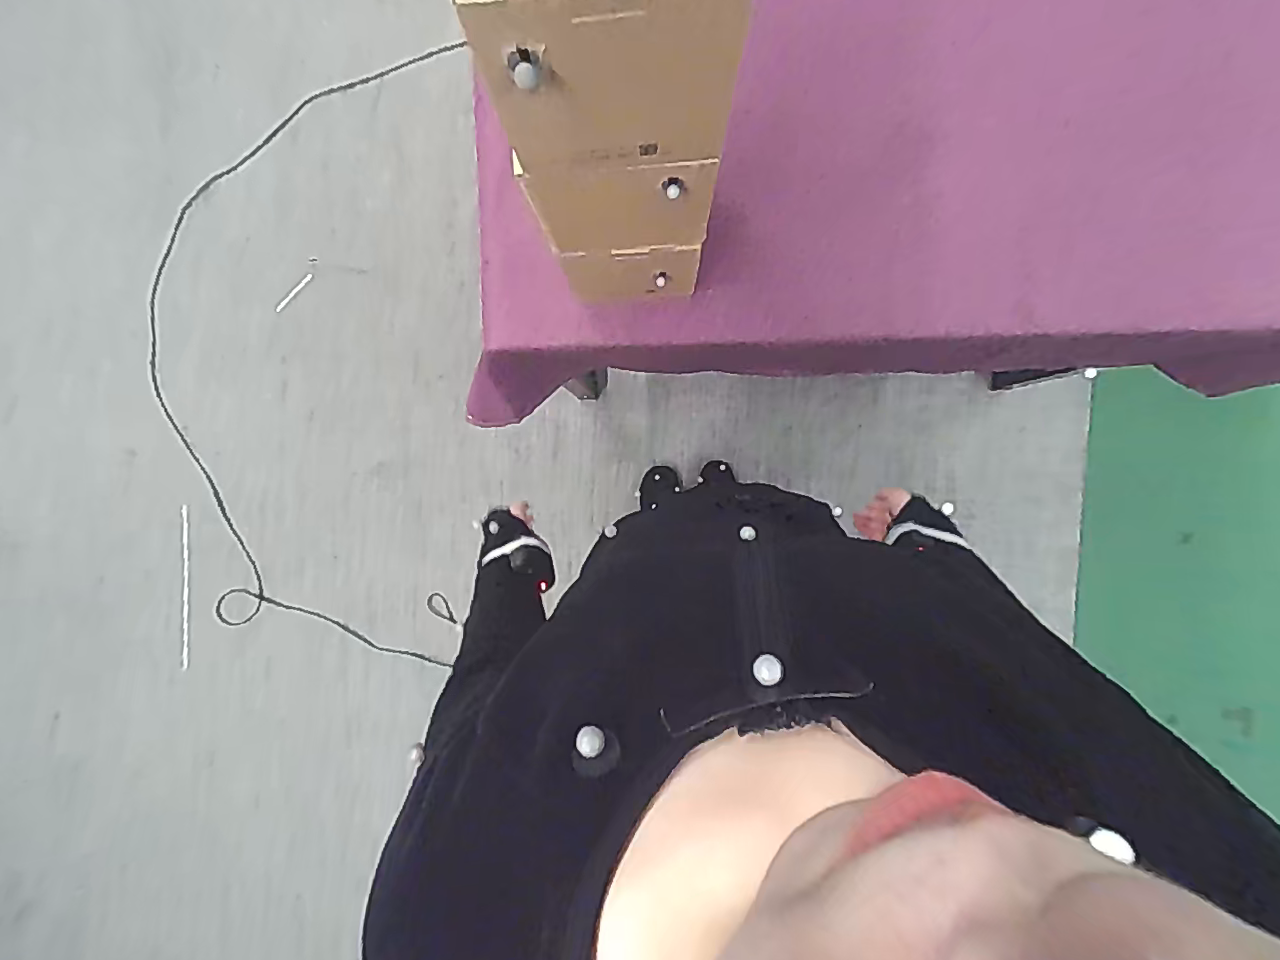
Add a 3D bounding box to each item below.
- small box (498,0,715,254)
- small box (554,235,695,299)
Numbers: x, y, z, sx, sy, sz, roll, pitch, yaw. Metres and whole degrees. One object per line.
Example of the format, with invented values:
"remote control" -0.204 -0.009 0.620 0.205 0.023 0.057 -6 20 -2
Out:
"small box" -0.027 -0.338 0.532 0.179 0.176 0.168 -4 91 0
"small box" -0.017 -0.340 0.694 0.168 0.176 0.179 -2 90 1
